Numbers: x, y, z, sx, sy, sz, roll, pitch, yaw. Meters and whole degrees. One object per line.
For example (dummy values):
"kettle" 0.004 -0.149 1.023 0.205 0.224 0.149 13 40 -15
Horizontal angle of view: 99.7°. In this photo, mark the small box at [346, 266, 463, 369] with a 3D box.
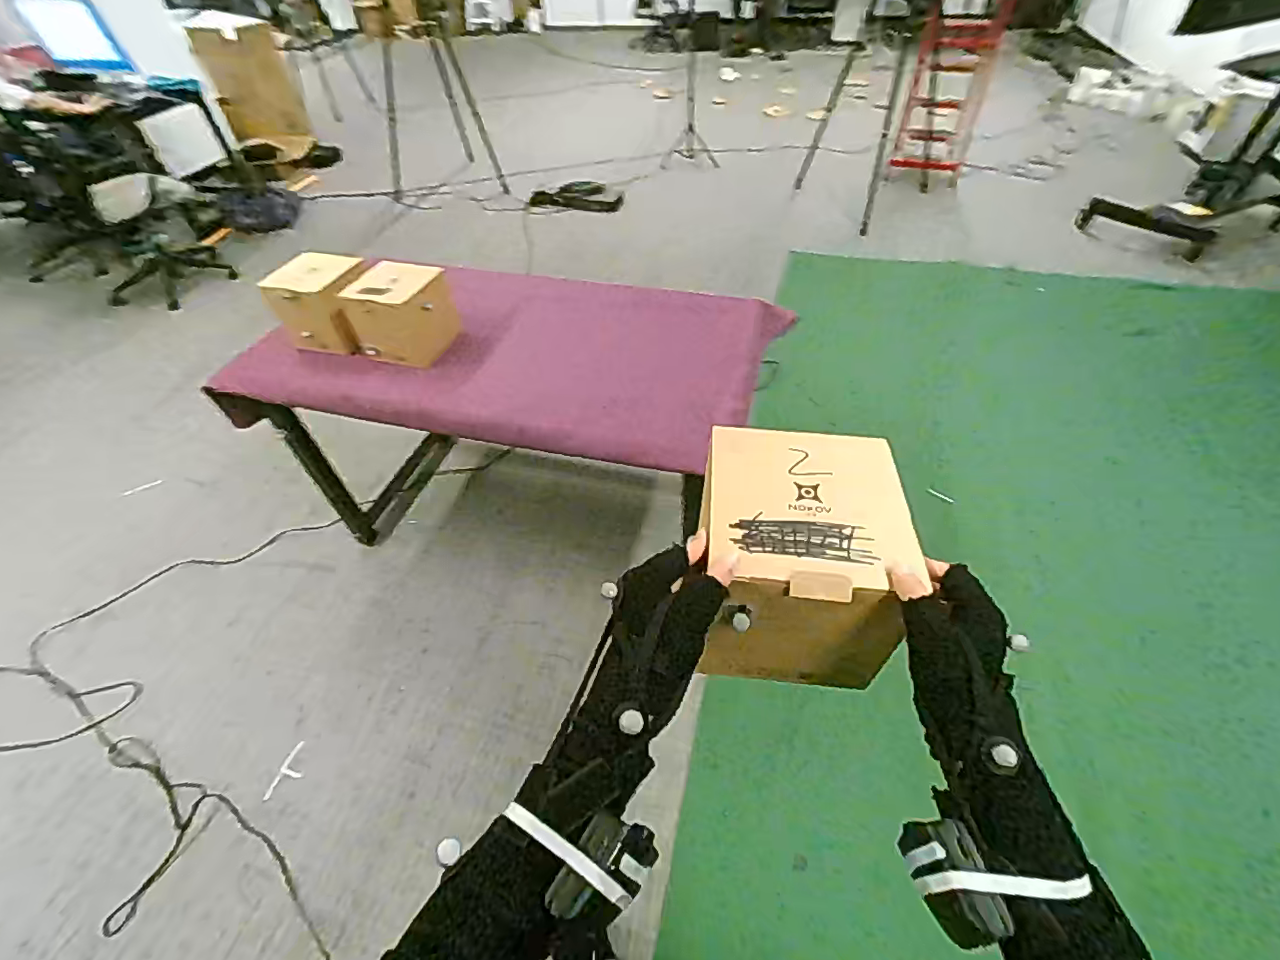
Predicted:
"small box" -0.551 -0.388 1.298 0.168 0.176 0.179 12 49 14

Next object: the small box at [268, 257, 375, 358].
"small box" -0.762 -0.430 1.348 0.168 0.176 0.179 10 49 13
